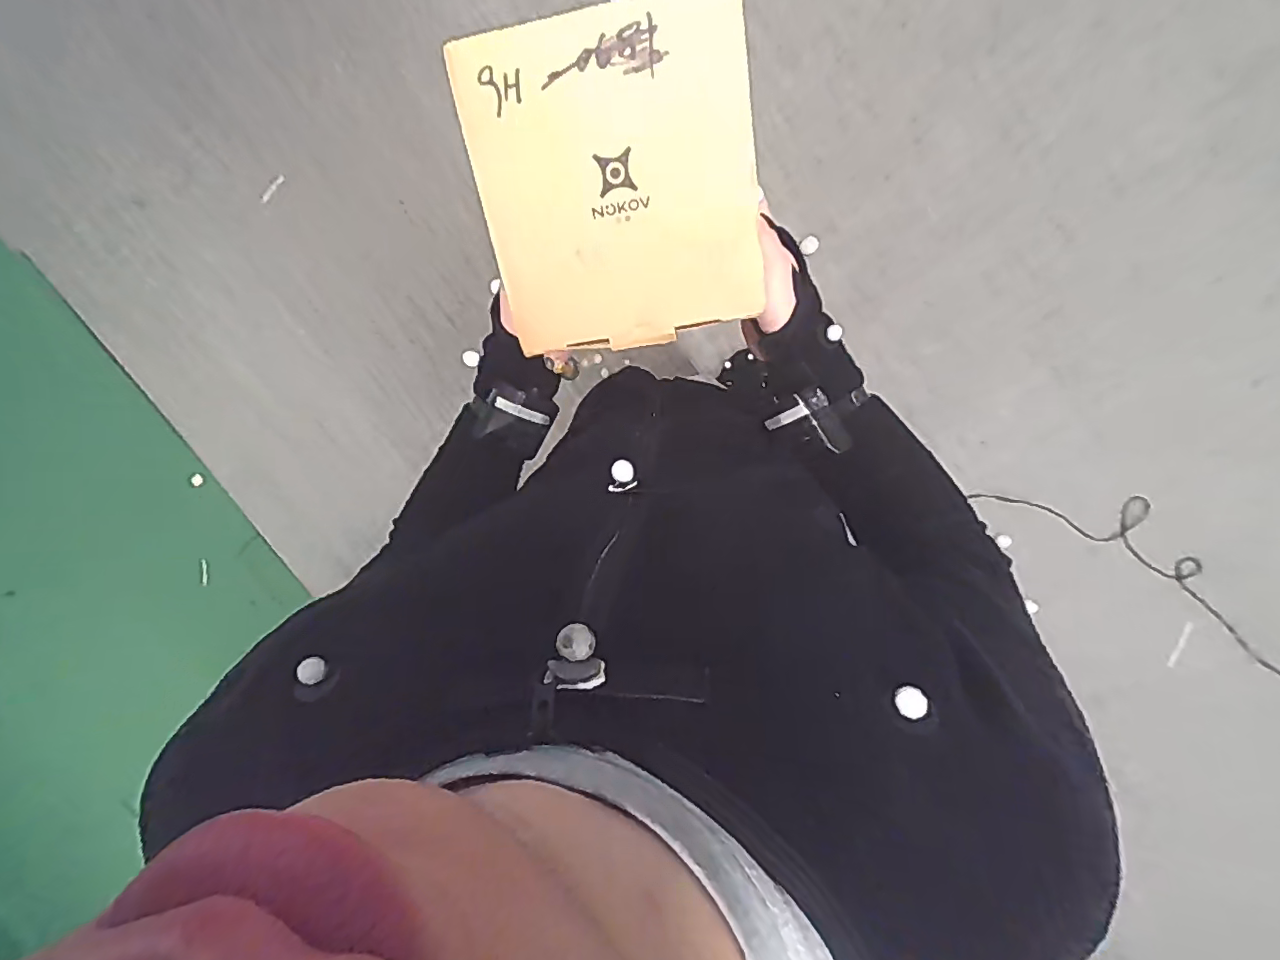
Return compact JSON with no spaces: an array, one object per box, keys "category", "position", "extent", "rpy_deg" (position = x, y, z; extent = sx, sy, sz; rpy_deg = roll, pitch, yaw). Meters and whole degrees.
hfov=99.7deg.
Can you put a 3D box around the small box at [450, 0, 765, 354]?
[{"category":"small box","position":[-0.007,-0.207,0.395],"extent":[0.168,0.176,0.179],"rpy_deg":[-8,115,7]}]
